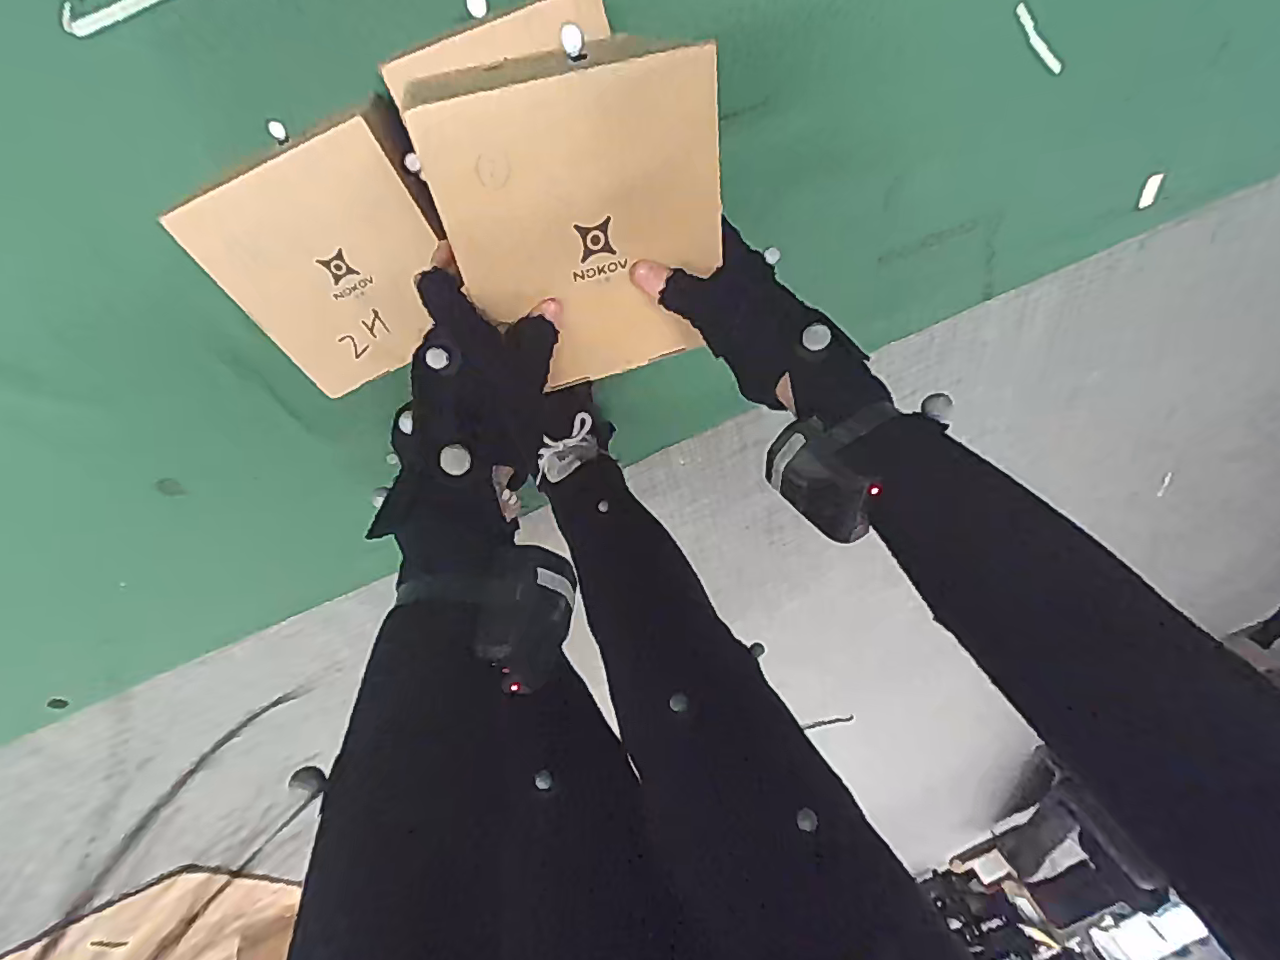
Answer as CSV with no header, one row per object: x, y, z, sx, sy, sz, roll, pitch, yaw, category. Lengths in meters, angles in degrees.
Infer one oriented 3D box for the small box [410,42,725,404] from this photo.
-0.051,-0.188,0.385,0.168,0.176,0.179,-19,134,-7,small box
